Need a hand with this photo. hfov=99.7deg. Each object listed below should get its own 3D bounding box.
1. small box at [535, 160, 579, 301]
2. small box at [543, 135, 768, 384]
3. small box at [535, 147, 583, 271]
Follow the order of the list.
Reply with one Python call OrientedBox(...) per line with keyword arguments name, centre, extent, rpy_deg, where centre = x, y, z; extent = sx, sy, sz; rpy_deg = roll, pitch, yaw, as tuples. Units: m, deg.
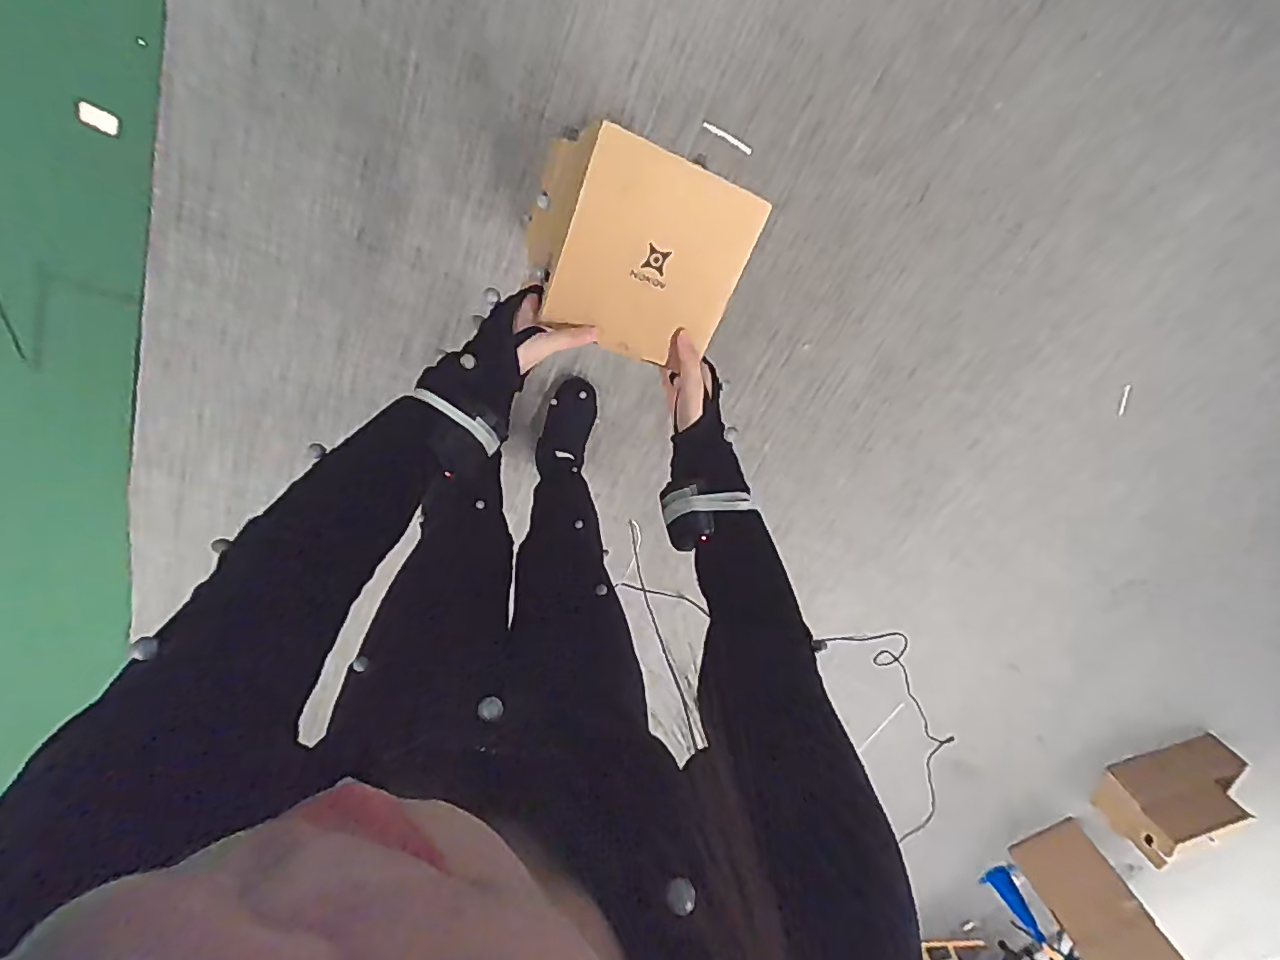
OrientedBox(name="small box", centre=(-0.030, -0.304, 0.713), extent=(0.179, 0.176, 0.168), rpy_deg=(16, 116, -20))
OrientedBox(name="small box", centre=(-0.002, -0.232, 0.568), extent=(0.168, 0.176, 0.179), rpy_deg=(15, 117, -20))
OrientedBox(name="small box", centre=(-0.065, -0.394, 0.847), extent=(0.168, 0.176, 0.179), rpy_deg=(14, 117, -19))
